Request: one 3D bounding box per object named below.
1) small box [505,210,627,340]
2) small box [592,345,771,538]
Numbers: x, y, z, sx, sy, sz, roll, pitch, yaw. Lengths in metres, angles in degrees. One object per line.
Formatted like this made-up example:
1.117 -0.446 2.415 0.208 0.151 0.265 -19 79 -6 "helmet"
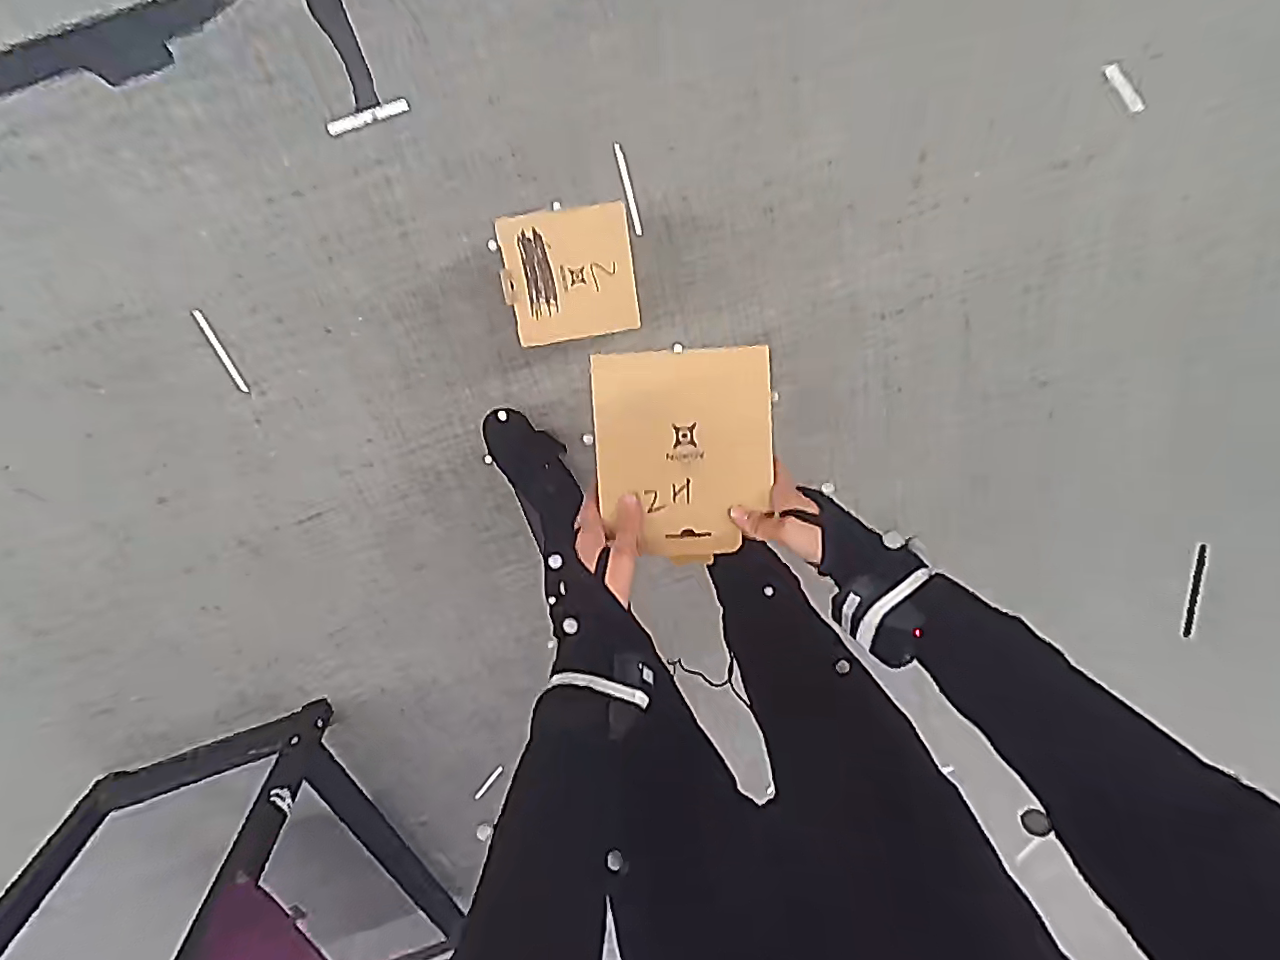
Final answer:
-0.128 -0.365 0.957 0.168 0.176 0.179 -15 115 -4 "small box"
0.038 -0.042 0.582 0.168 0.176 0.179 -3 96 0 "small box"
